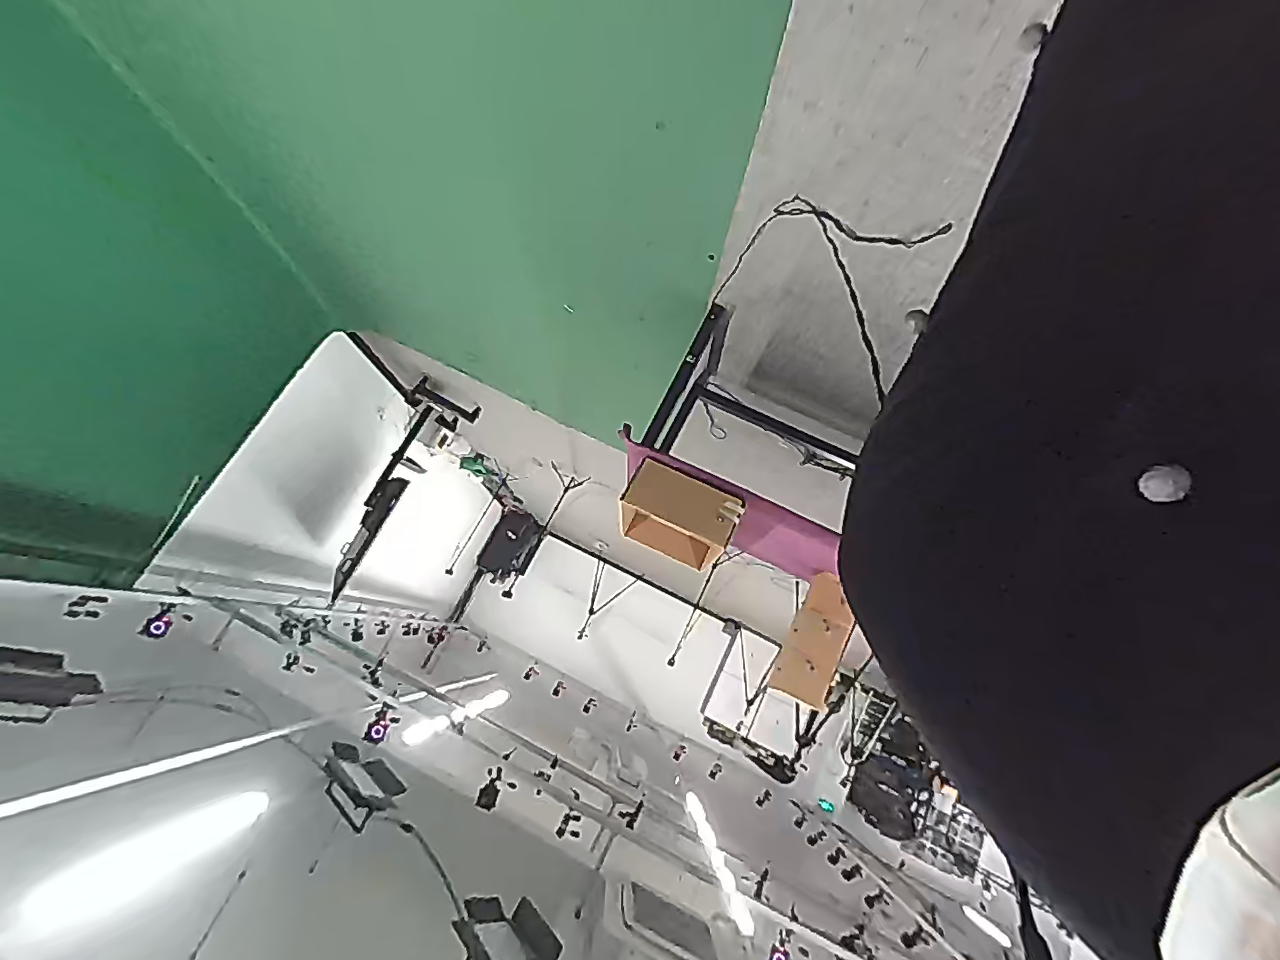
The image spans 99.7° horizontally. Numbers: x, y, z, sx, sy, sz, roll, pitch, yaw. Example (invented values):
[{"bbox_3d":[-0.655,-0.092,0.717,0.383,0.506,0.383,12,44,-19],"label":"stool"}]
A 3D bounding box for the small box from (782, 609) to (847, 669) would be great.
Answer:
[{"bbox_3d":[0.687,0.620,2.125,0.168,0.176,0.179,26,164,3],"label":"small box"}]

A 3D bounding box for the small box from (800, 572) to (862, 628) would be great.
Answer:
[{"bbox_3d":[0.766,0.481,2.166,0.168,0.176,0.179,25,165,8],"label":"small box"}]
